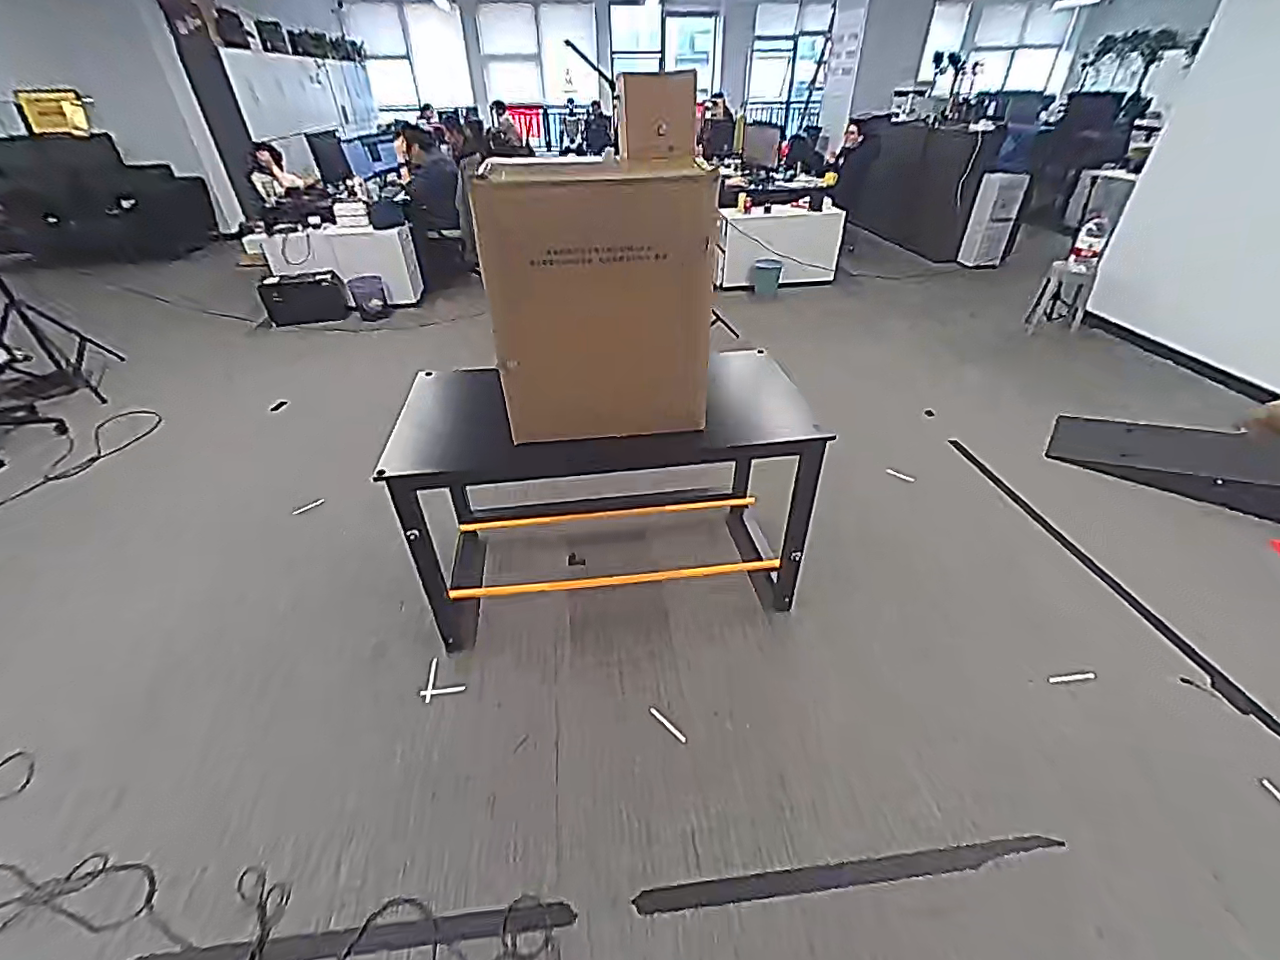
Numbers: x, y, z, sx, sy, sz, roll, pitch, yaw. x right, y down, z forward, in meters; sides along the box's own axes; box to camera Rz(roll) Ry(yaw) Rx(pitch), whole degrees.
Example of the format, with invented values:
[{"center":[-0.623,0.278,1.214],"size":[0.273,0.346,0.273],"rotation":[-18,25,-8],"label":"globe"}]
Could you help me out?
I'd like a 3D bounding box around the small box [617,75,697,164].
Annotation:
[{"center":[0.037,-0.861,1.298],"size":[0.168,0.176,0.179],"rotation":[-7,34,-5],"label":"small box"}]
